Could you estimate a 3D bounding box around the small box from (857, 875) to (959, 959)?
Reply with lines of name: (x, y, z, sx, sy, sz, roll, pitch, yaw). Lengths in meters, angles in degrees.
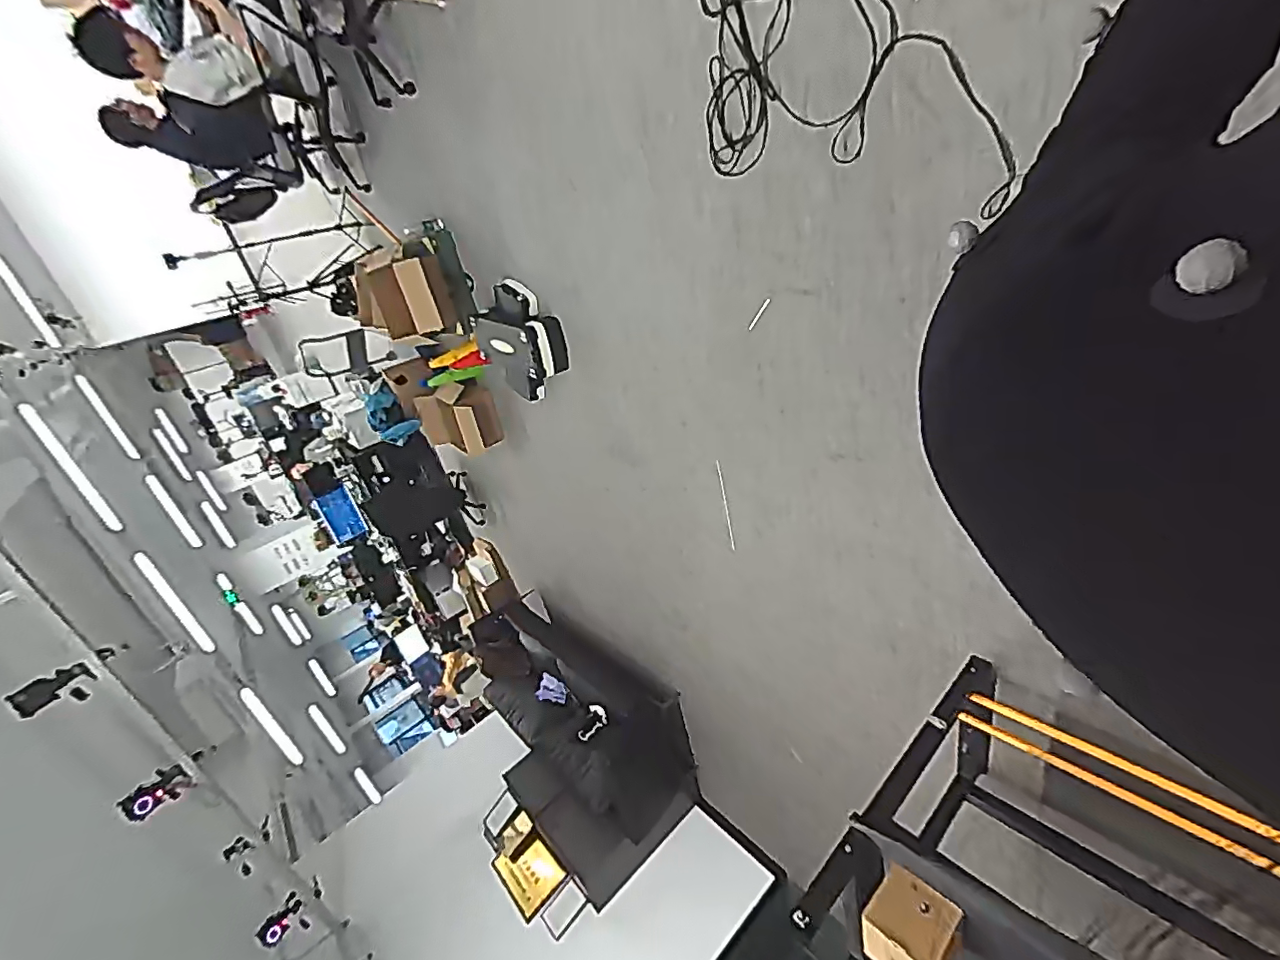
small box: (0.641, 1.111, 1.292, 0.168, 0.176, 0.179, 18, 129, 48)
